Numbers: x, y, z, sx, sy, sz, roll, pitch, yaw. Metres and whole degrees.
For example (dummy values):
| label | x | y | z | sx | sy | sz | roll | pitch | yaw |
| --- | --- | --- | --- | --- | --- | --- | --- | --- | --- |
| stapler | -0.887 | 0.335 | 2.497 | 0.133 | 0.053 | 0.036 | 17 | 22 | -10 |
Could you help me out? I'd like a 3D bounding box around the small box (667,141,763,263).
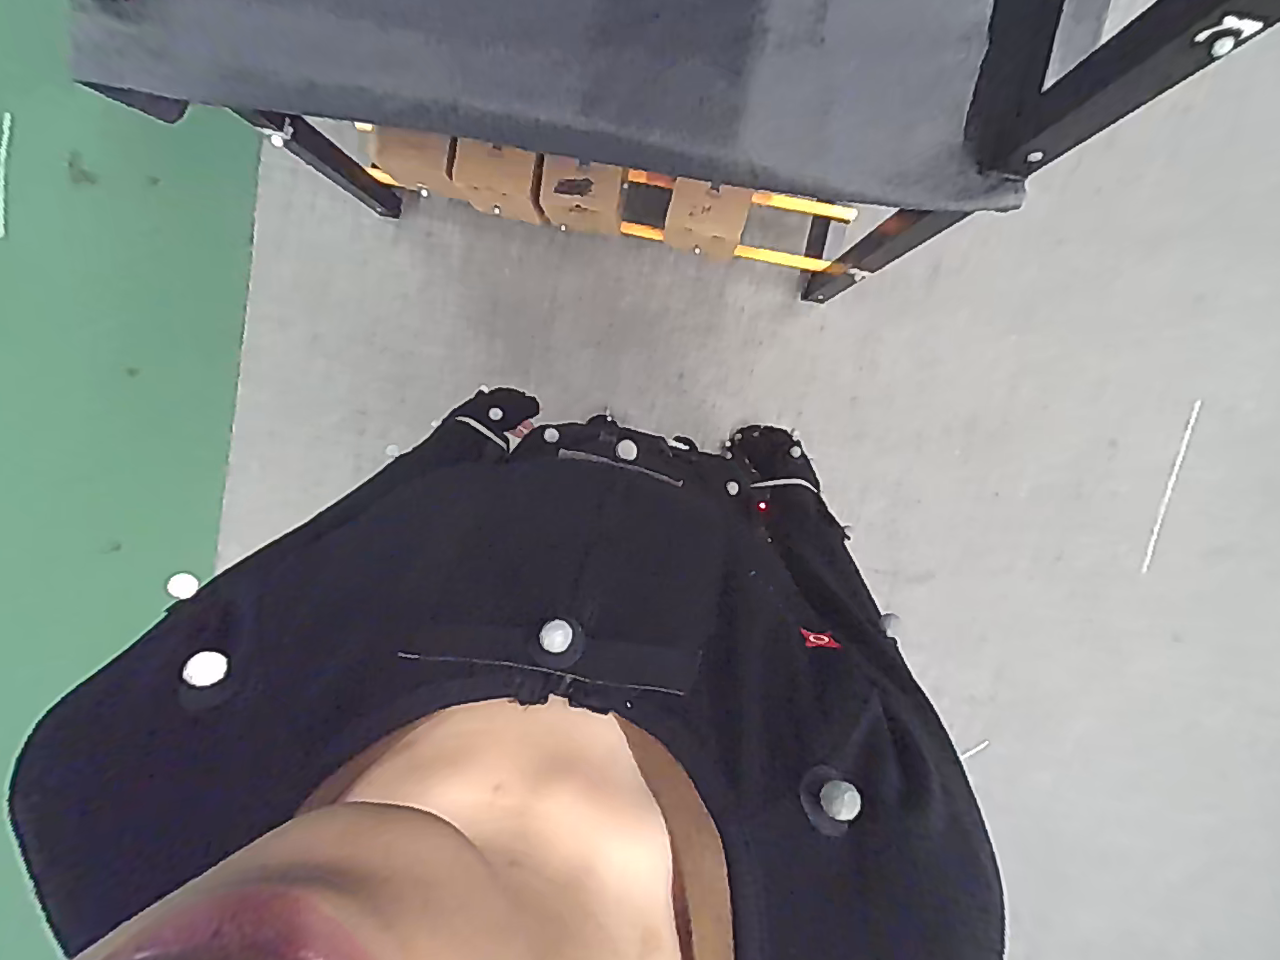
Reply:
| label | x | y | z | sx | sy | sz | roll | pitch | yaw |
| --- | --- | --- | --- | --- | --- | --- | --- | --- | --- |
| small box | 0.158 | -0.613 | 1.215 | 0.168 | 0.176 | 0.179 | 16 | 99 | 0 |
